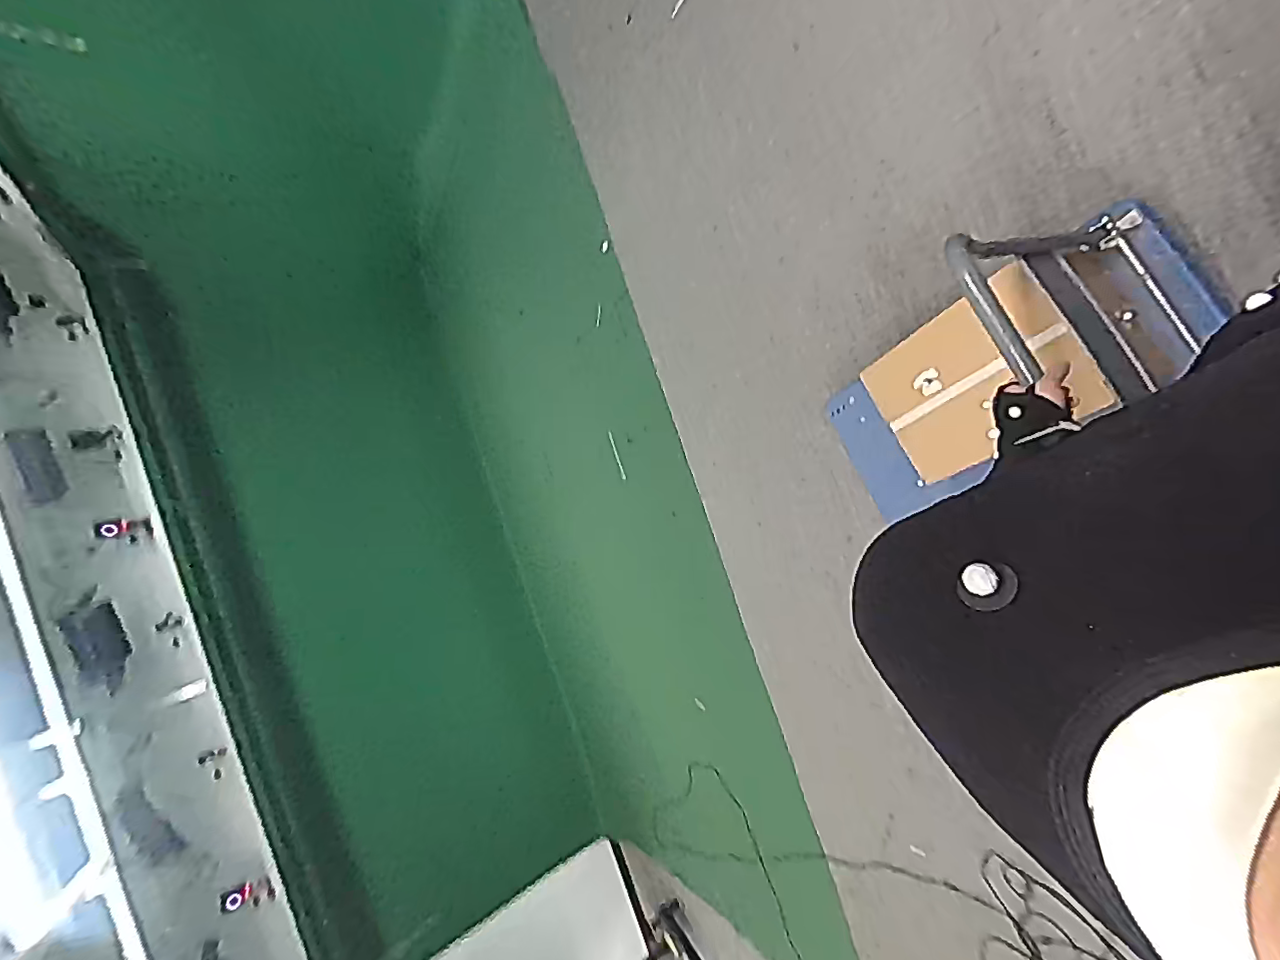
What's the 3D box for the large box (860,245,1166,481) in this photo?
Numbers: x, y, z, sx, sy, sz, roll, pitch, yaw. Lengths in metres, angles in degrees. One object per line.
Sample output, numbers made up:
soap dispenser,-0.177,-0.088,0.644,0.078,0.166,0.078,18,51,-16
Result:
large box,0.797,-0.250,1.196,0.320,0.320,0.408,64,148,11
